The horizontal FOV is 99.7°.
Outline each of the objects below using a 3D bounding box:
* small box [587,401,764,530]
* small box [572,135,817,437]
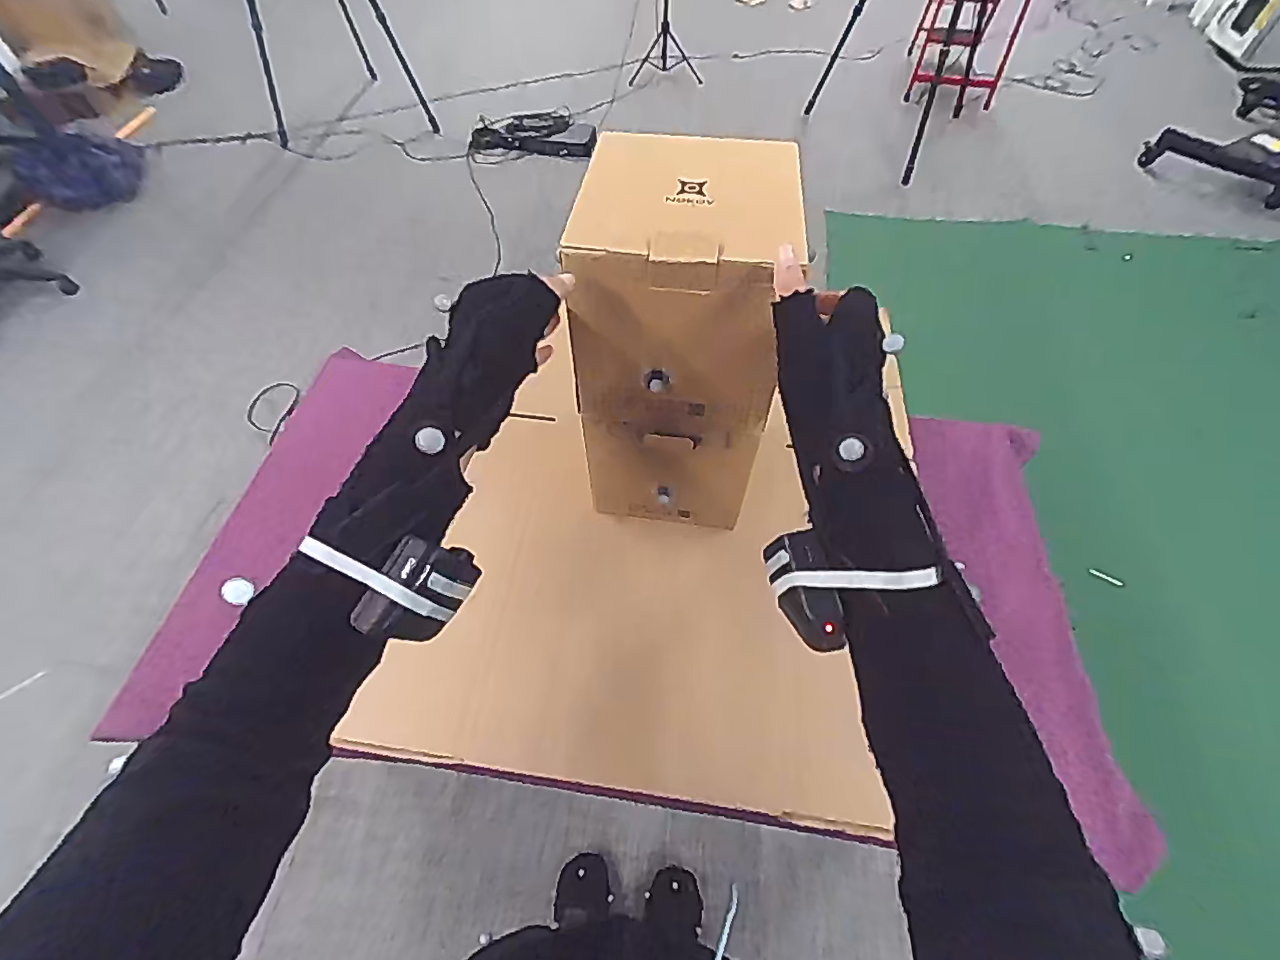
[{"bbox_3d":[0.042,-0.068,0.600,0.168,0.176,0.179,7,56,5],"label":"small box"},{"bbox_3d":[0.042,-0.163,0.467,0.168,0.176,0.179,6,56,3],"label":"small box"}]
